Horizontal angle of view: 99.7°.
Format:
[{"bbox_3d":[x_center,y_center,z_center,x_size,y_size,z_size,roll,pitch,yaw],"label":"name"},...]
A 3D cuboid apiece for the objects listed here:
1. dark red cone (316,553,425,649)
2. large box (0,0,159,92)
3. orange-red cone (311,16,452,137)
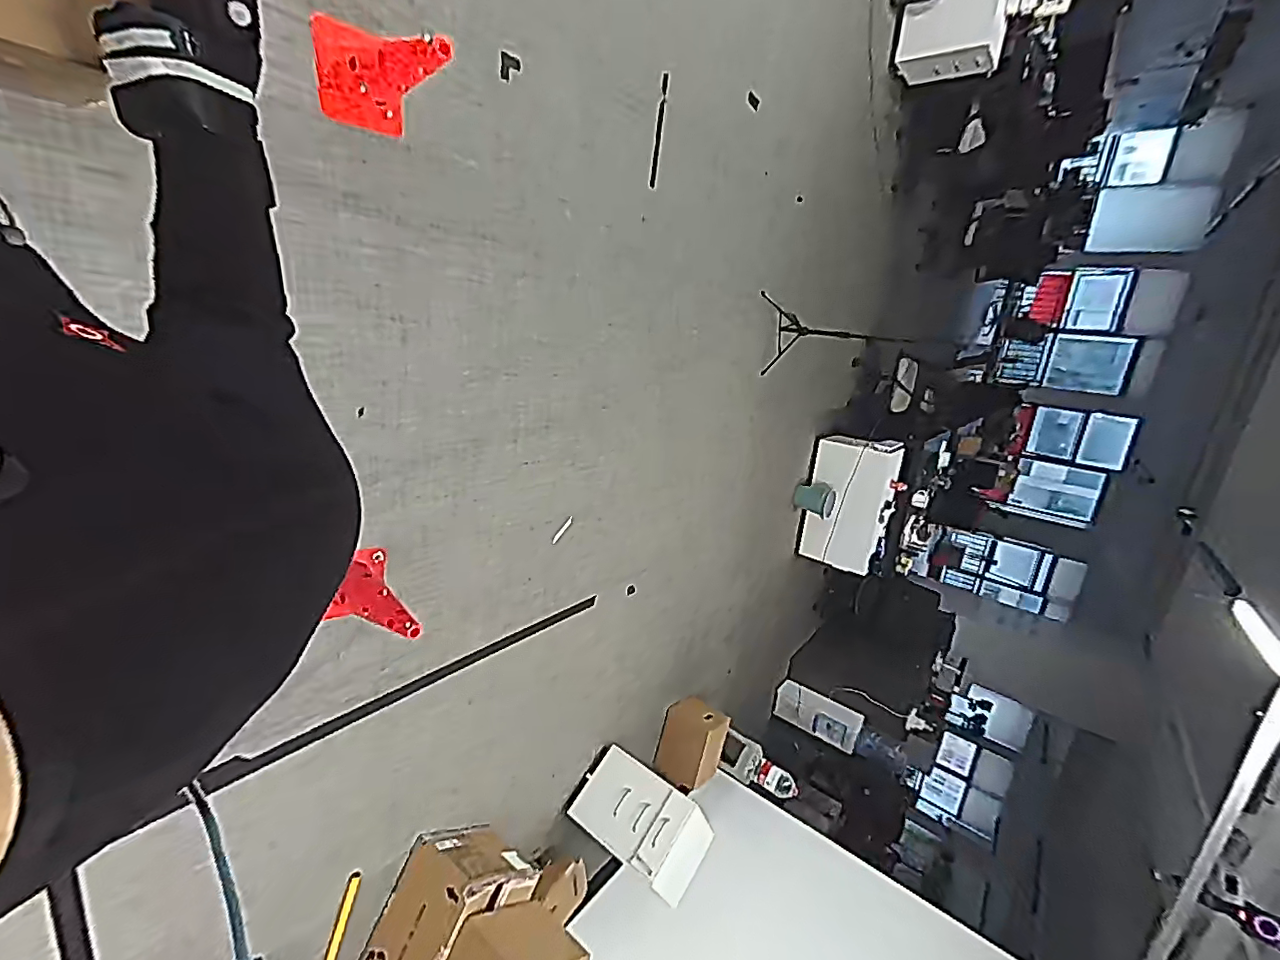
[{"bbox_3d":[-0.697,0.351,1.457,0.201,0.394,0.202,-4,107,-52],"label":"dark red cone"},{"bbox_3d":[-0.549,-0.443,0.257,0.408,0.320,0.320,-14,122,-51],"label":"large box"},{"bbox_3d":[-0.534,-0.910,1.184,0.198,0.360,0.199,-17,116,-50],"label":"orange-red cone"}]
